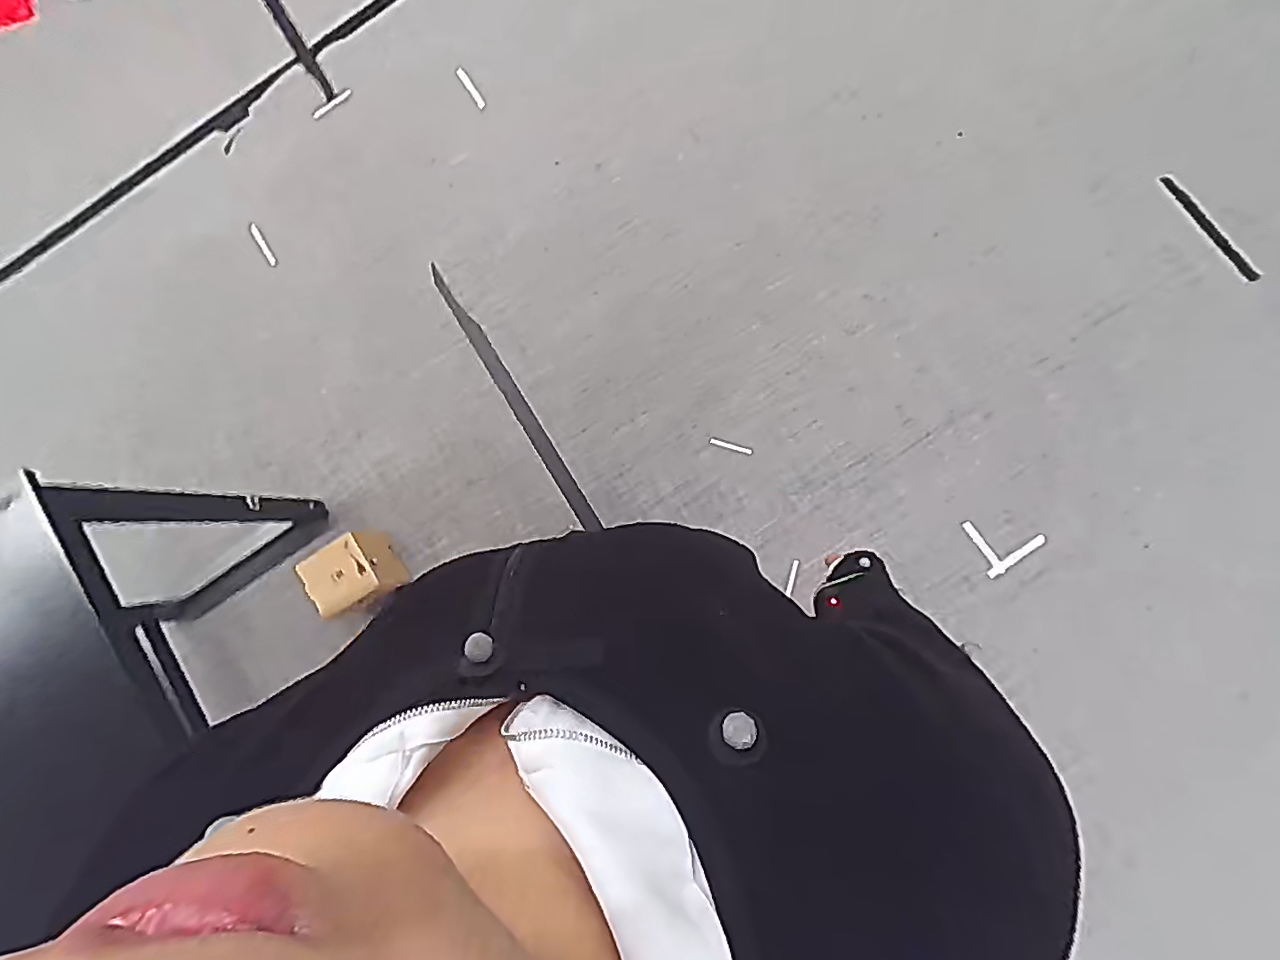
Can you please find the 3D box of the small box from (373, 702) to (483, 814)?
[{"bbox_3d":[-0.546,0.718,1.415,0.179,0.176,0.168,-34,84,0],"label":"small box"}]

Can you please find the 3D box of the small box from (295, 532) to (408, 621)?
[{"bbox_3d":[-0.776,0.257,1.472,0.179,0.176,0.168,-34,84,2],"label":"small box"}]
